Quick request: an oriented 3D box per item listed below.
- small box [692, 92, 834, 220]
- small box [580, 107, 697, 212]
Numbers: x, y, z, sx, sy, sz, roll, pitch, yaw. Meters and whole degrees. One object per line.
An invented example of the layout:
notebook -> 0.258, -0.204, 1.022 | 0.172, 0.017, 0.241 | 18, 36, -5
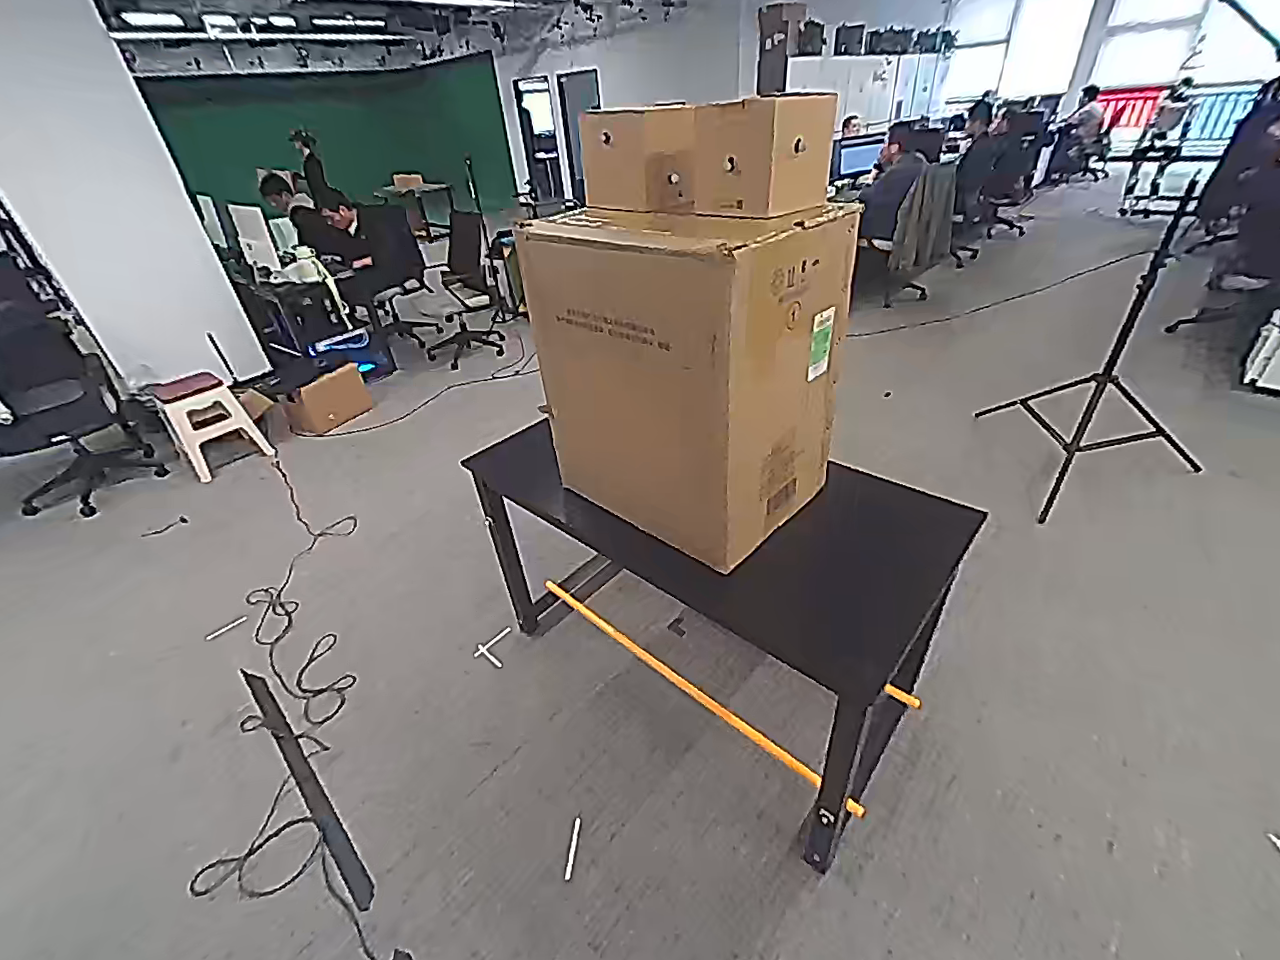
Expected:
small box -> 0.210, -0.555, 0.932 | 0.179, 0.176, 0.168 | -30, 41, -33
small box -> 0.000, -0.647, 1.093 | 0.179, 0.176, 0.168 | 27, 45, 35
